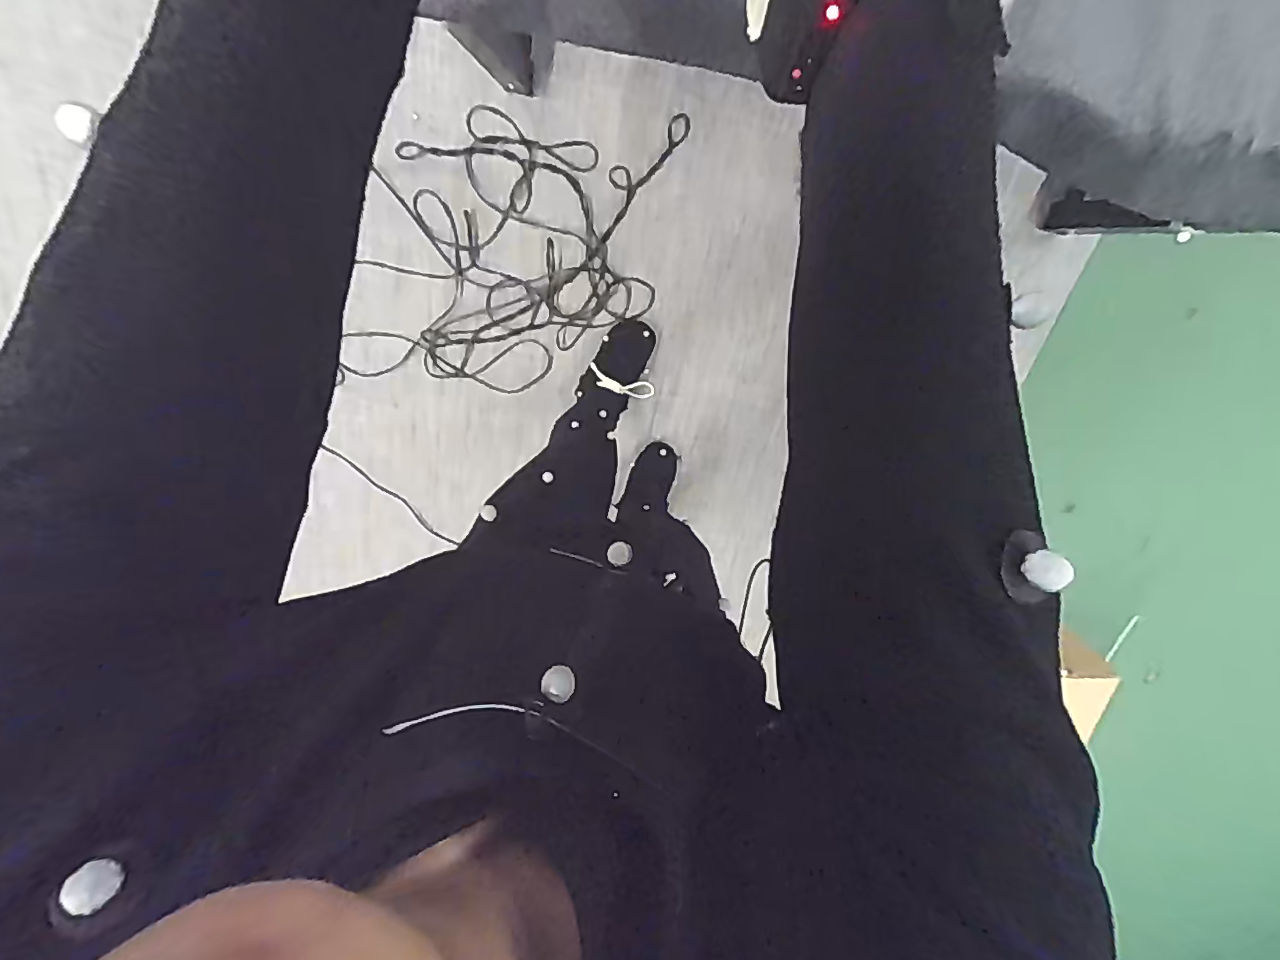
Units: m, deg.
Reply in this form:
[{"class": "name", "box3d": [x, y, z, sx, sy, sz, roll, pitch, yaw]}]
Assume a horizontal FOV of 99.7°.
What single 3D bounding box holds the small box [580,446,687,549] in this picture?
[{"class": "small box", "box3d": [-0.011, 0.045, 1.251, 0.176, 0.168, 0.179, -12, 119, 25]}]
